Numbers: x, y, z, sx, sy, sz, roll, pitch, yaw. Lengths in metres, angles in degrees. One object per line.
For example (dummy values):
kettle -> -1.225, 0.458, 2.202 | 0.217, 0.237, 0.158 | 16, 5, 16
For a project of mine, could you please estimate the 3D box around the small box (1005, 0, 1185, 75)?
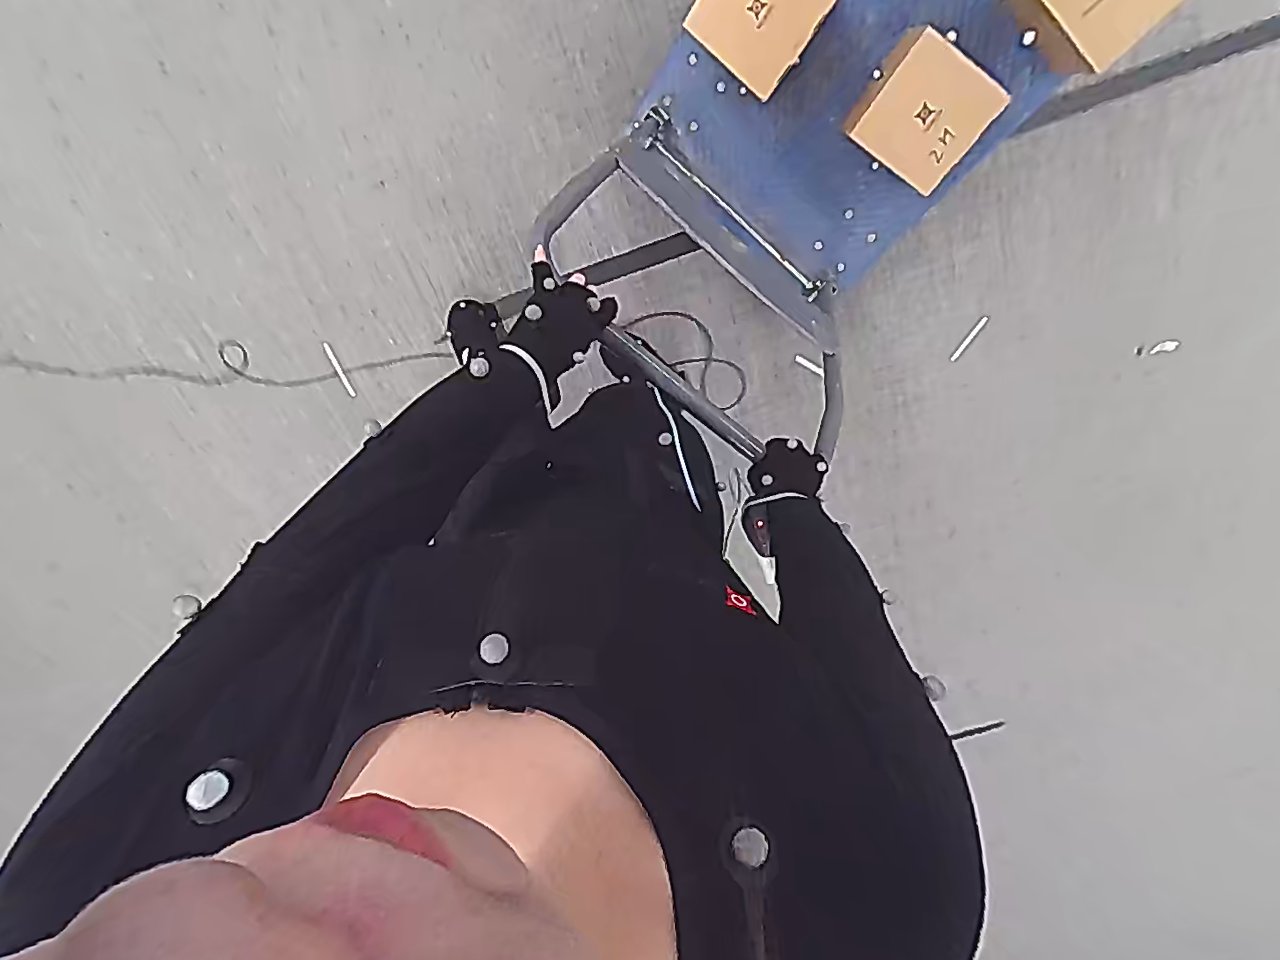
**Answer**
small box -> 0.677, -0.733, 0.779 | 0.168, 0.176, 0.179 | 37, 129, -15

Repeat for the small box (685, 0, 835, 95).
small box -> 0.197, -0.768, 0.878 | 0.179, 0.176, 0.168 | 33, 129, -14

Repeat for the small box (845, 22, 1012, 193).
small box -> 0.473, -0.627, 0.918 | 0.179, 0.176, 0.168 | 31, 129, -10
